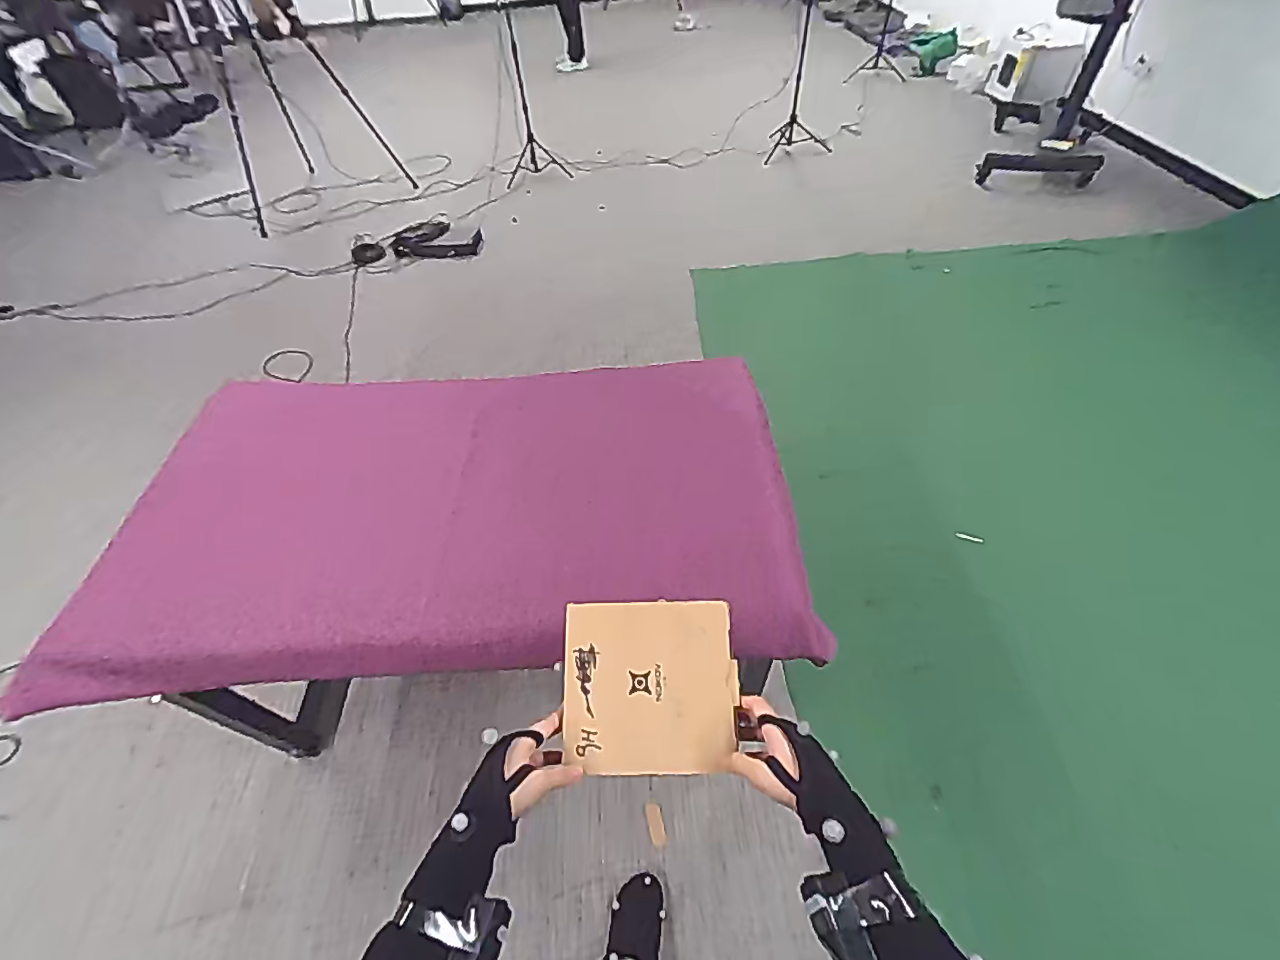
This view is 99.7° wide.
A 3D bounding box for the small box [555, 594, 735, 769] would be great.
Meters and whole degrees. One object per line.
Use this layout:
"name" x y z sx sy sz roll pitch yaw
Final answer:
"small box" 0.008 0.228 0.621 0.179 0.176 0.168 -1 68 2
